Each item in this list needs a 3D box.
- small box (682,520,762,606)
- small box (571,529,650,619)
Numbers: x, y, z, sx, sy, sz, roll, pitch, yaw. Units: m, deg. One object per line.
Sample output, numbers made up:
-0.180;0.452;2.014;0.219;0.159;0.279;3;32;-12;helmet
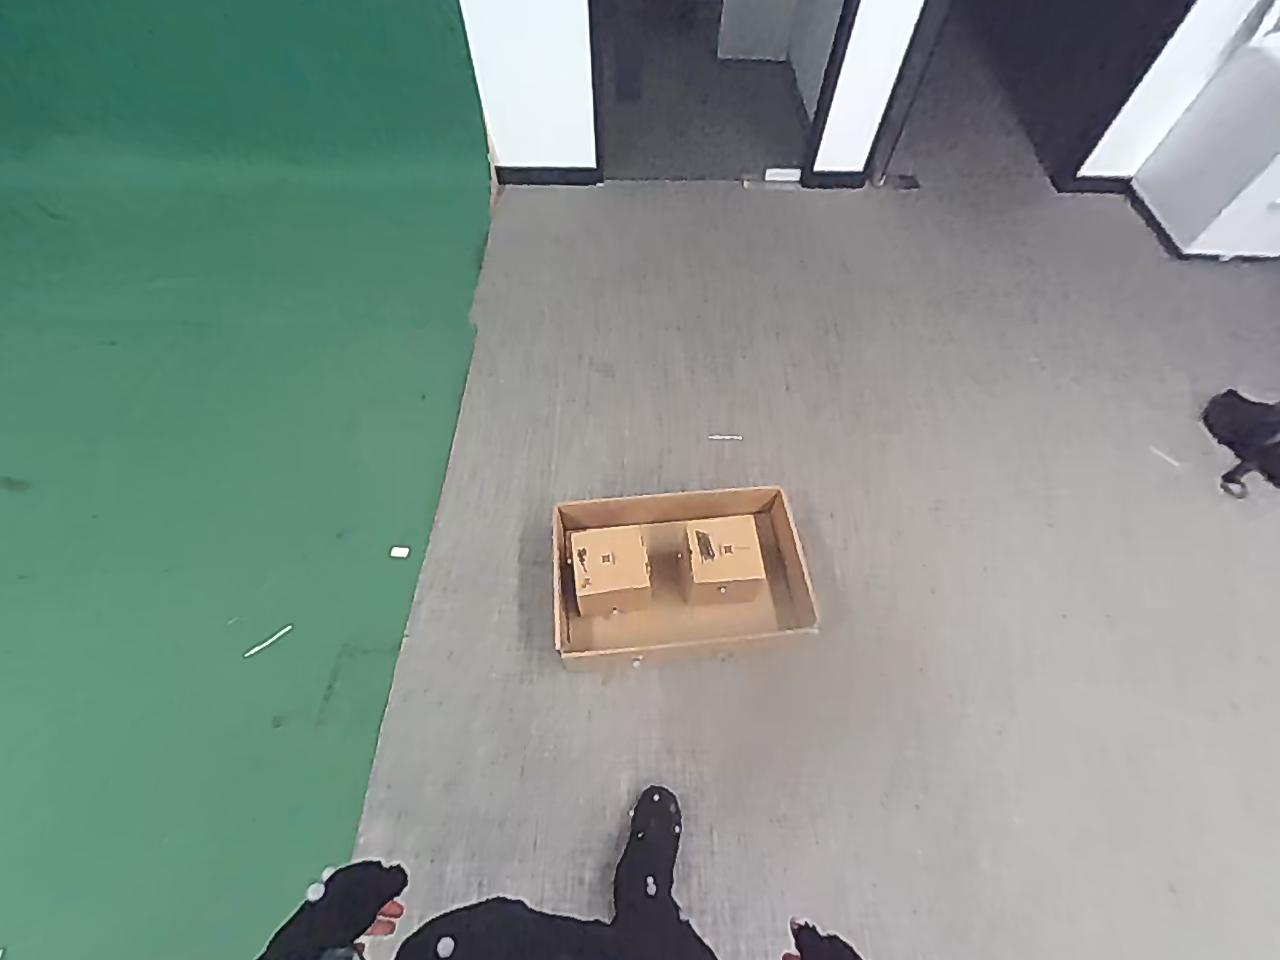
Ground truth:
0.201;0.218;1.389;0.179;0.176;0.168;-3;59;-2;small box
-0.078;0.240;1.369;0.179;0.176;0.168;-6;58;-7;small box
